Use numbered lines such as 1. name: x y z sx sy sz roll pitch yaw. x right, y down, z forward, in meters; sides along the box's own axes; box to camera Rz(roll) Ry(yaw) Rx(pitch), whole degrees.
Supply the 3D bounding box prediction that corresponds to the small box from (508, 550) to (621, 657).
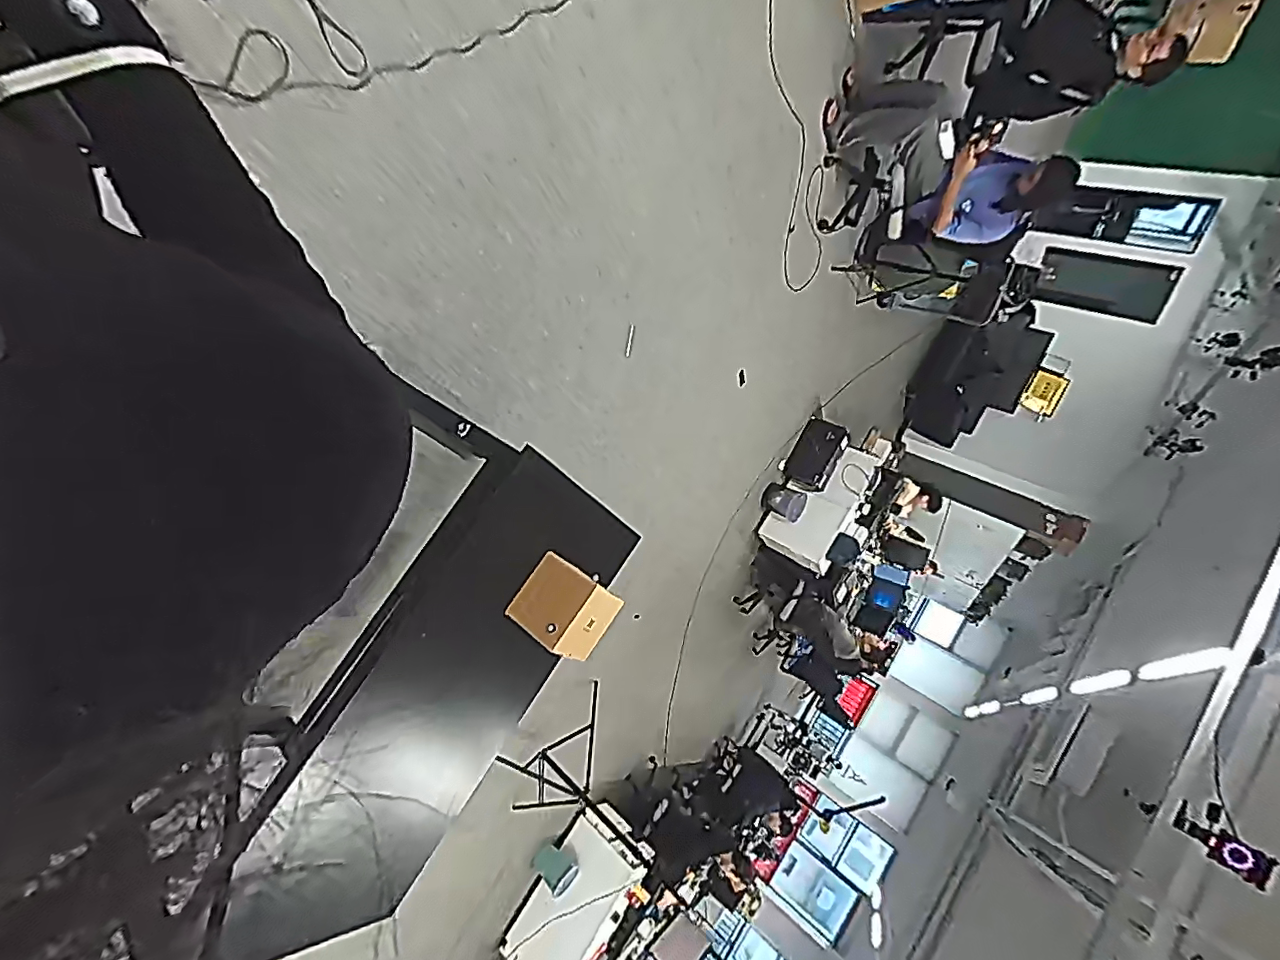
1. small box: -0.183 0.295 1.303 0.179 0.176 0.168 -55 148 -9
